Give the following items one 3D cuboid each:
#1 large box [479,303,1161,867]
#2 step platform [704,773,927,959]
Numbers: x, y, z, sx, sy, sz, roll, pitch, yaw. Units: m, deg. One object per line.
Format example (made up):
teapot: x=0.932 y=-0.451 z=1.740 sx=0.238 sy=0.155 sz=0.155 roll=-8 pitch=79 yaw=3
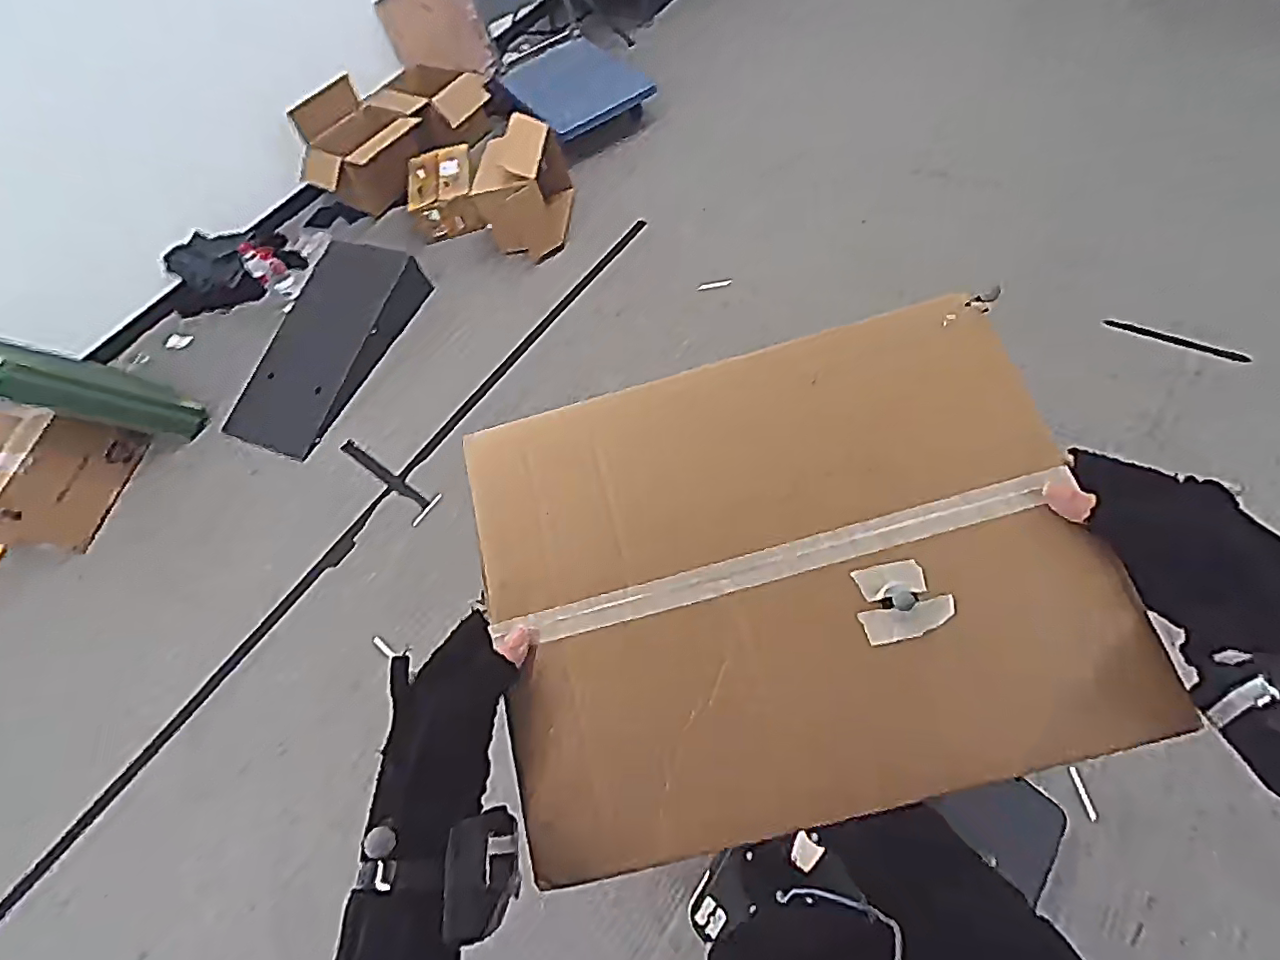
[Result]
large box: x=0.113 y=0.098 z=0.526 sx=0.408 sy=0.320 sz=0.320 roll=-16 pitch=73 yaw=3
step platform: x=0.430 y=0.740 z=1.242 sx=0.286 sy=0.204 sz=0.684 roll=28 pitch=69 yaw=24
